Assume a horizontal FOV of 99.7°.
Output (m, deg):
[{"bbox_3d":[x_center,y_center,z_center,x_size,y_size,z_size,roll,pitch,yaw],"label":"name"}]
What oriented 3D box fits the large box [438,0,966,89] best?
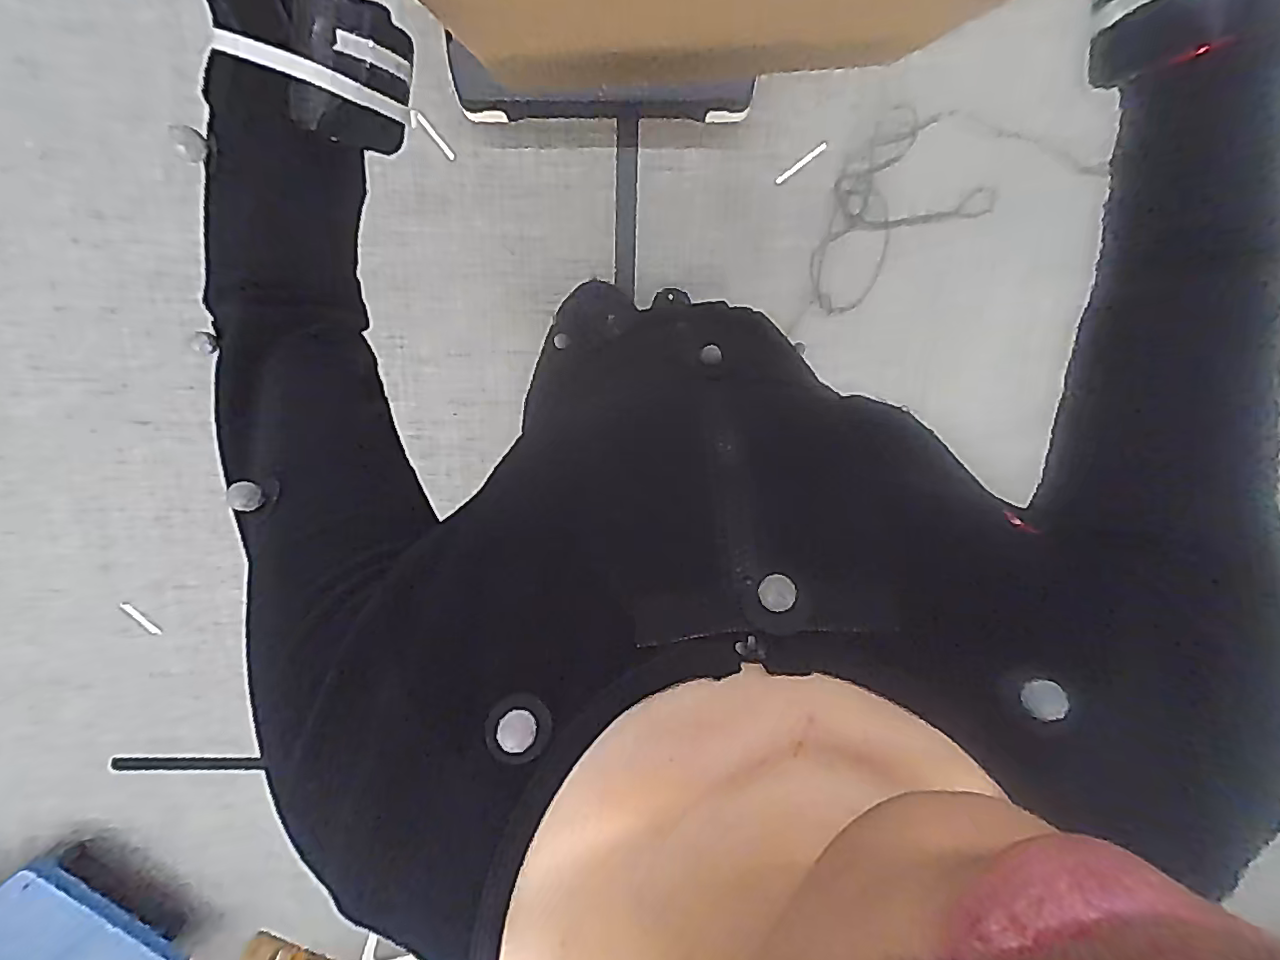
[{"bbox_3d":[0.051,-0.493,0.359,0.408,0.320,0.320,-4,117,0],"label":"large box"}]
